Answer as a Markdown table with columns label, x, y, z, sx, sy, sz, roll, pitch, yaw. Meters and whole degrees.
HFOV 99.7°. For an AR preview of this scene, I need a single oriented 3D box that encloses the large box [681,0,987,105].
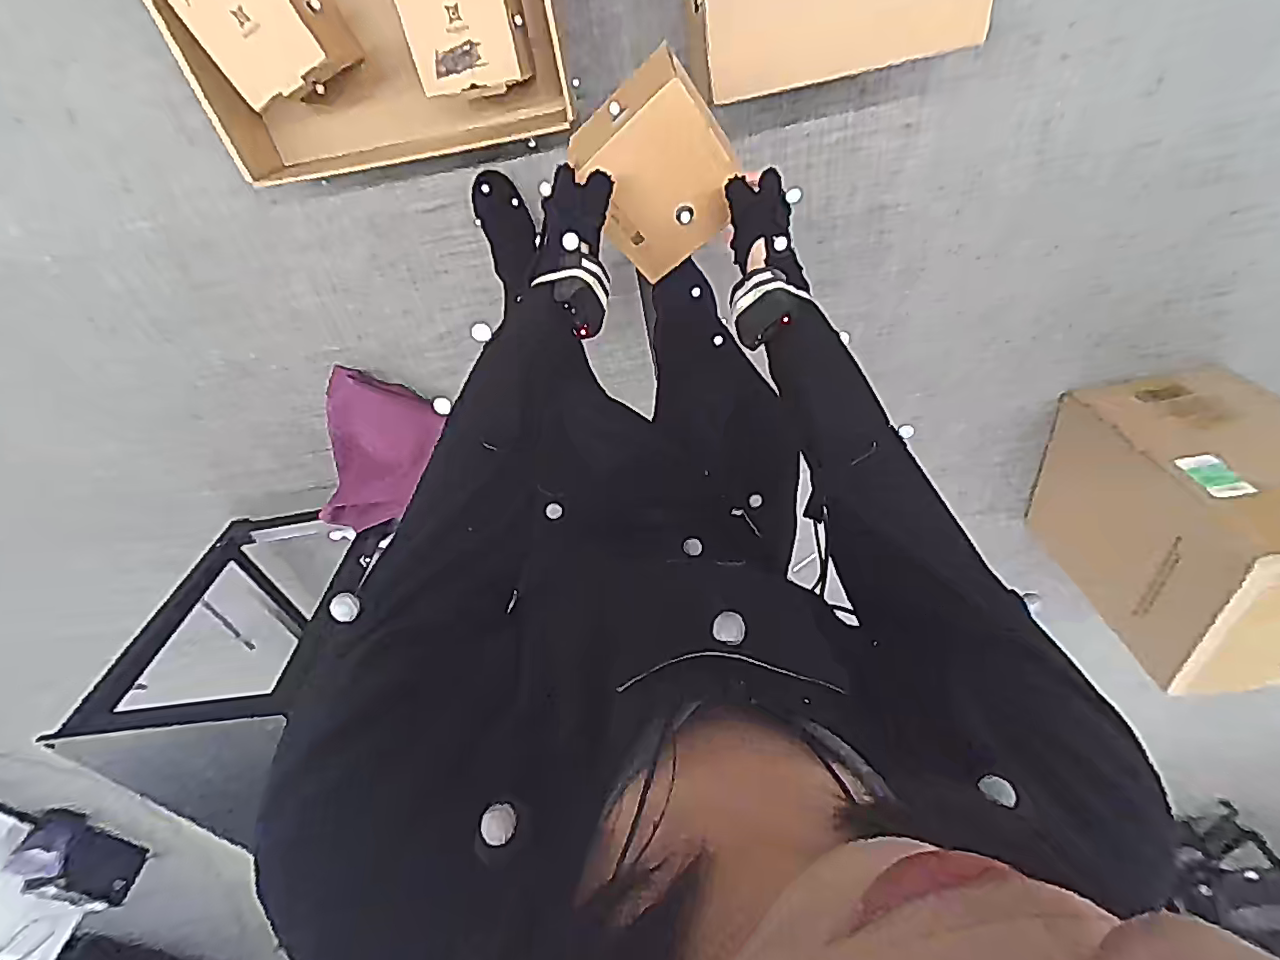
| label | x | y | z | sx | sy | sz | roll | pitch | yaw |
| --- | --- | --- | --- | --- | --- | --- | --- | --- | --- |
| large box | 0.268 | -0.822 | 0.835 | 0.408 | 0.320 | 0.320 | -10 | 129 | 6 |
